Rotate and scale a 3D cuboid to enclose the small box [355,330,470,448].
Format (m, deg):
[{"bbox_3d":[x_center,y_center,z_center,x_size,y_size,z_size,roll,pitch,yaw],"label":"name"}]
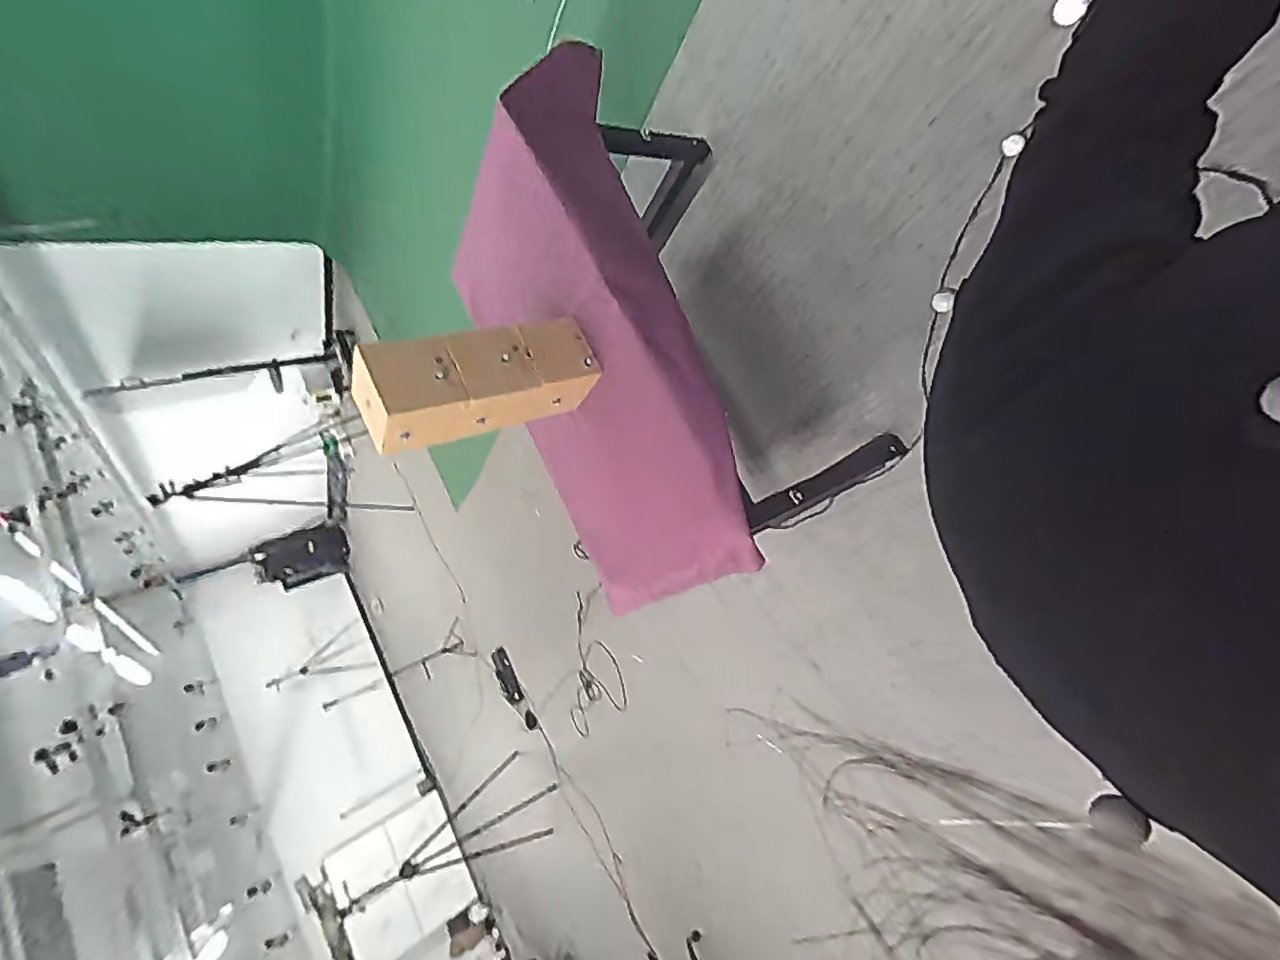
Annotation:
[{"bbox_3d":[-0.475,-0.191,1.129,0.179,0.176,0.168,-41,73,51],"label":"small box"}]

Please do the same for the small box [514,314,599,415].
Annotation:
[{"bbox_3d":[-0.221,-0.284,1.315,0.179,0.176,0.168,-40,73,52],"label":"small box"}]

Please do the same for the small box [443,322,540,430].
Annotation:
[{"bbox_3d":[-0.349,-0.235,1.223,0.179,0.176,0.168,-41,74,51],"label":"small box"}]
